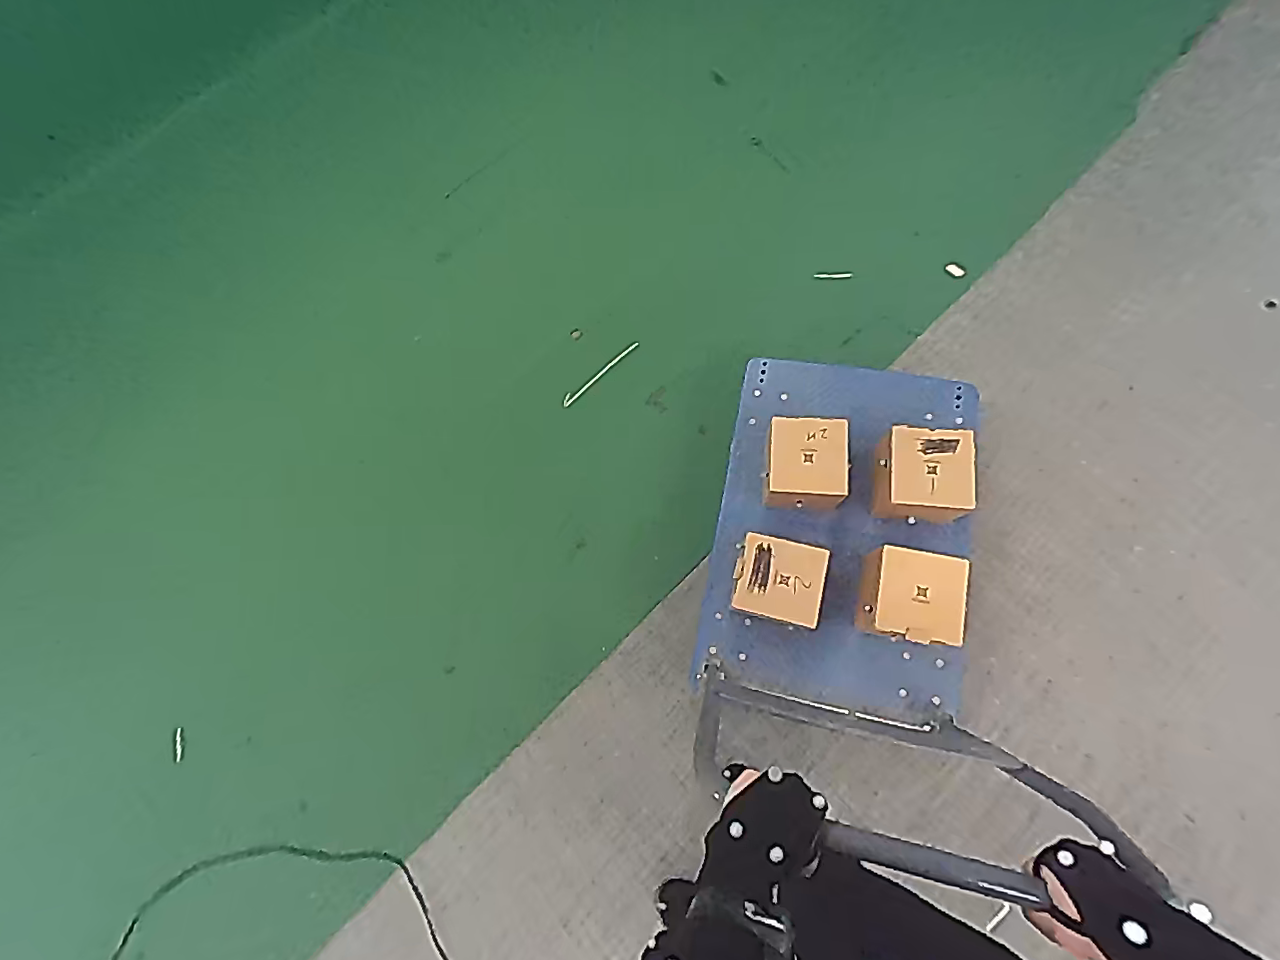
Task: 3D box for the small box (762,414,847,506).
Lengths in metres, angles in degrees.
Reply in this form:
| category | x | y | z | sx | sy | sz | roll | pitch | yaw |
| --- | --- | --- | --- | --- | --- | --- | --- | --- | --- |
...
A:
| category | x | y | z | sx | sy | sz | roll | pitch | yaw |
| --- | --- | --- | --- | --- | --- | --- | --- | --- | --- |
| small box | 0.378 | -0.041 | 1.265 | 0.168 | 0.176 | 0.179 | 4 | 76 | 8 |

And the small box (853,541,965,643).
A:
| category | x | y | z | sx | sy | sz | roll | pitch | yaw |
| --- | --- | --- | --- | --- | --- | --- | --- | --- | --- |
| small box | 0.572 | 0.243 | 1.166 | 0.168 | 0.176 | 0.179 | 11 | 78 | 10 |

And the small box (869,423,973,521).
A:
| category | x | y | z | sx | sy | sz | roll | pitch | yaw |
| --- | --- | --- | --- | --- | --- | --- | --- | --- | --- |
| small box | 0.628 | -0.013 | 1.224 | 0.168 | 0.176 | 0.179 | 5 | 77 | 10 |
